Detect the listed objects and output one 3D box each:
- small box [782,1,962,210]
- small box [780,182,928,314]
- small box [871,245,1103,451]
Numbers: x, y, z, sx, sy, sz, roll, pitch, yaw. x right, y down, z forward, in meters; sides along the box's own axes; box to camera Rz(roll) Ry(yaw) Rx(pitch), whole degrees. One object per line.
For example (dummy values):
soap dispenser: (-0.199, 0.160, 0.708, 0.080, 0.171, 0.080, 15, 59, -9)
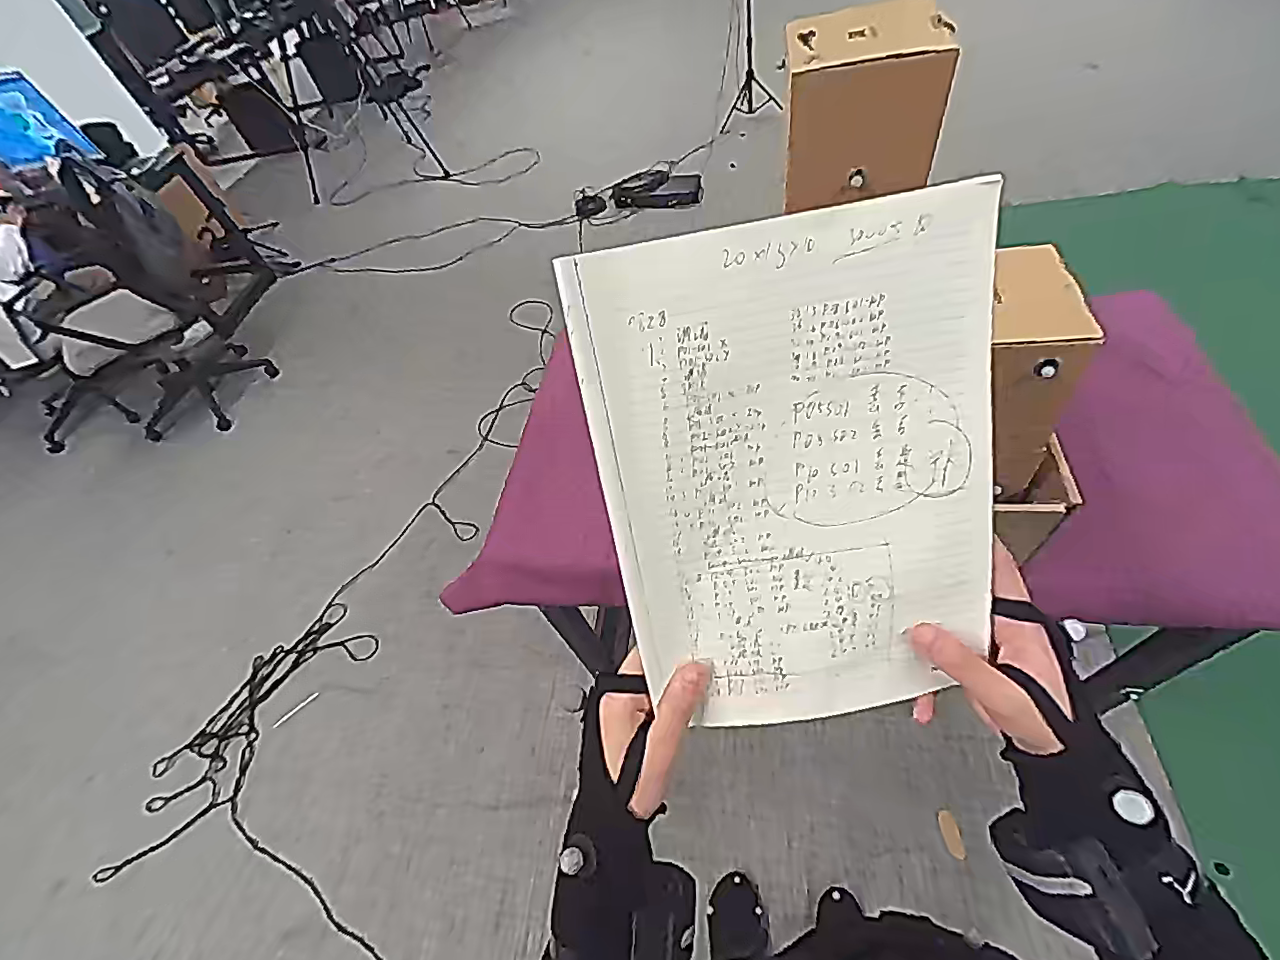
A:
small box: (0.280, -0.474, 0.697, 0.179, 0.176, 0.168, 1, 54, 12)
small box: (0.310, -0.375, 0.824, 0.179, 0.176, 0.168, -2, 54, 11)
small box: (0.375, -0.147, 0.631, 0.179, 0.176, 0.168, 1, 52, 13)
